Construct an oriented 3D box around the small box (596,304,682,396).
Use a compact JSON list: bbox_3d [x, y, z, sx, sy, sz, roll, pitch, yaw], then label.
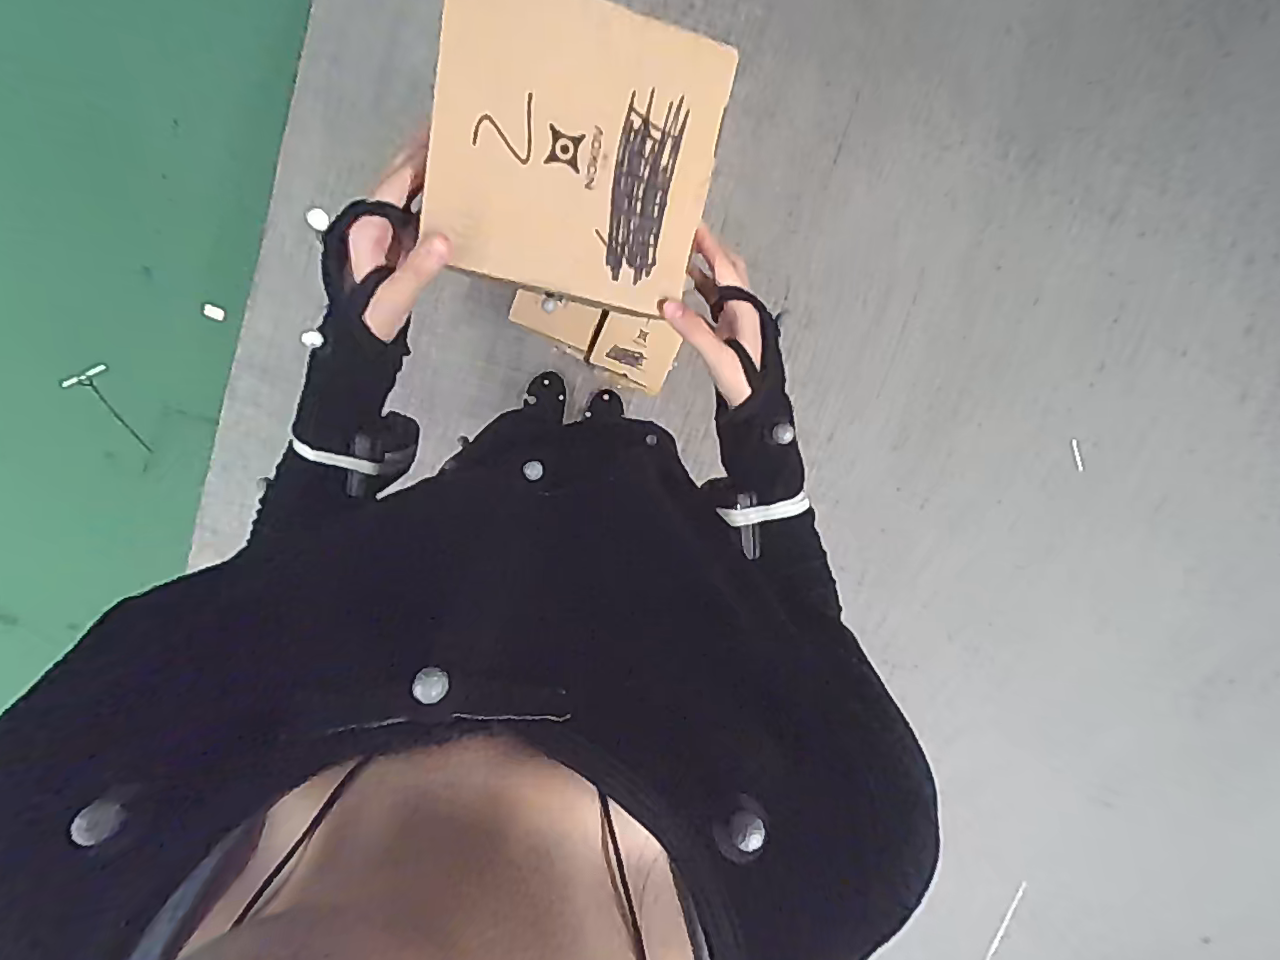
[{"bbox_3d":[-0.008,-0.325,1.376,0.168,0.176,0.179,19,99,-6],"label":"small box"}]
